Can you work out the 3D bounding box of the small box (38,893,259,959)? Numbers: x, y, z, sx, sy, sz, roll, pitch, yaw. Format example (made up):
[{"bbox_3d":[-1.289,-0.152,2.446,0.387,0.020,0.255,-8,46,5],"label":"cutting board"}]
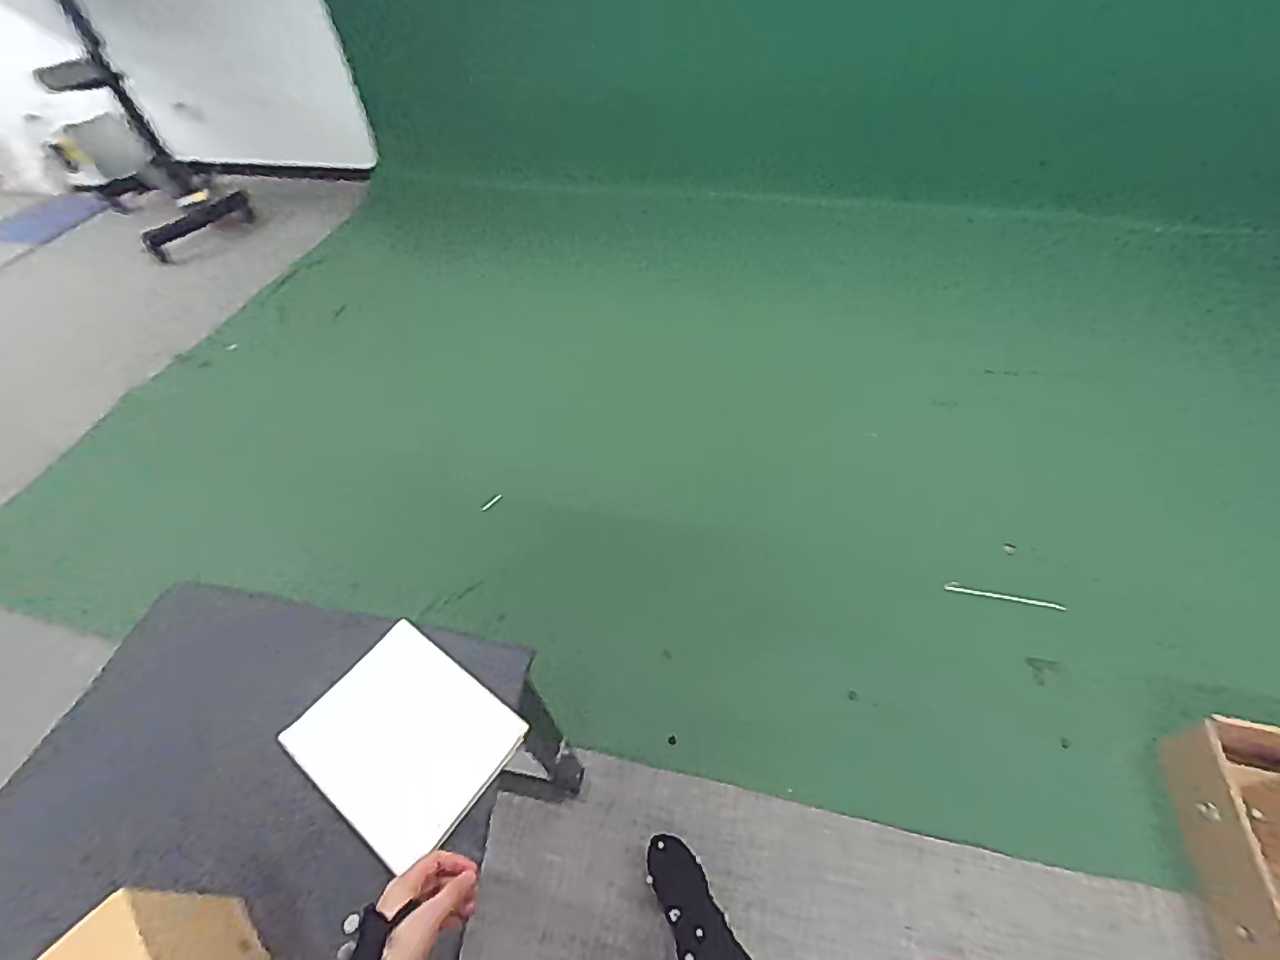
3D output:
[{"bbox_3d":[-0.447,0.501,0.463,0.168,0.176,0.179,33,61,26],"label":"small box"}]

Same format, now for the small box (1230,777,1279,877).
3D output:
[{"bbox_3d":[1.361,0.716,1.083,0.179,0.176,0.168,22,56,18],"label":"small box"}]
